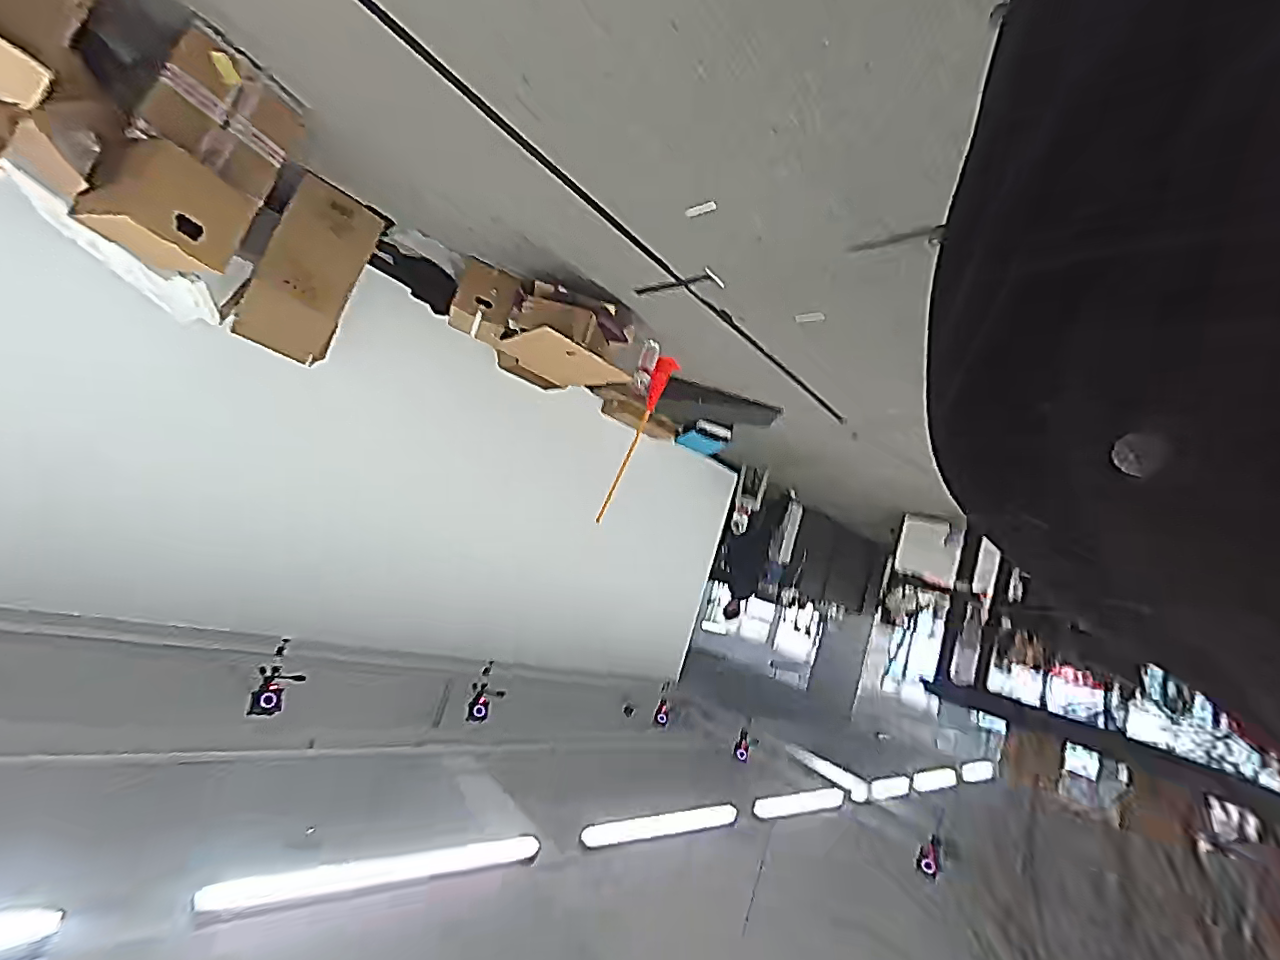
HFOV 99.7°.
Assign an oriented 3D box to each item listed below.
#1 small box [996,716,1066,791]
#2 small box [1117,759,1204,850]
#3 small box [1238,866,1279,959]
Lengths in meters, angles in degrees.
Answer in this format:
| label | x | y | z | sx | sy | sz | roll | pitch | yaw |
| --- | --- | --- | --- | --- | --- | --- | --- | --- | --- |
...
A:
| label | x | y | z | sx | sy | sz | roll | pitch | yaw |
| --- | --- | --- | --- | --- | --- | --- | --- | --- | --- |
| small box | 1.322 | 0.913 | 1.824 | 0.168 | 0.176 | 0.179 | 10 | 170 | 41 |
| small box | 1.538 | 0.949 | 1.599 | 0.179 | 0.176 | 0.168 | 22 | 172 | -43 |
| small box | 1.673 | 1.132 | 1.385 | 0.179 | 0.176 | 0.168 | 23 | 170 | -42 |
